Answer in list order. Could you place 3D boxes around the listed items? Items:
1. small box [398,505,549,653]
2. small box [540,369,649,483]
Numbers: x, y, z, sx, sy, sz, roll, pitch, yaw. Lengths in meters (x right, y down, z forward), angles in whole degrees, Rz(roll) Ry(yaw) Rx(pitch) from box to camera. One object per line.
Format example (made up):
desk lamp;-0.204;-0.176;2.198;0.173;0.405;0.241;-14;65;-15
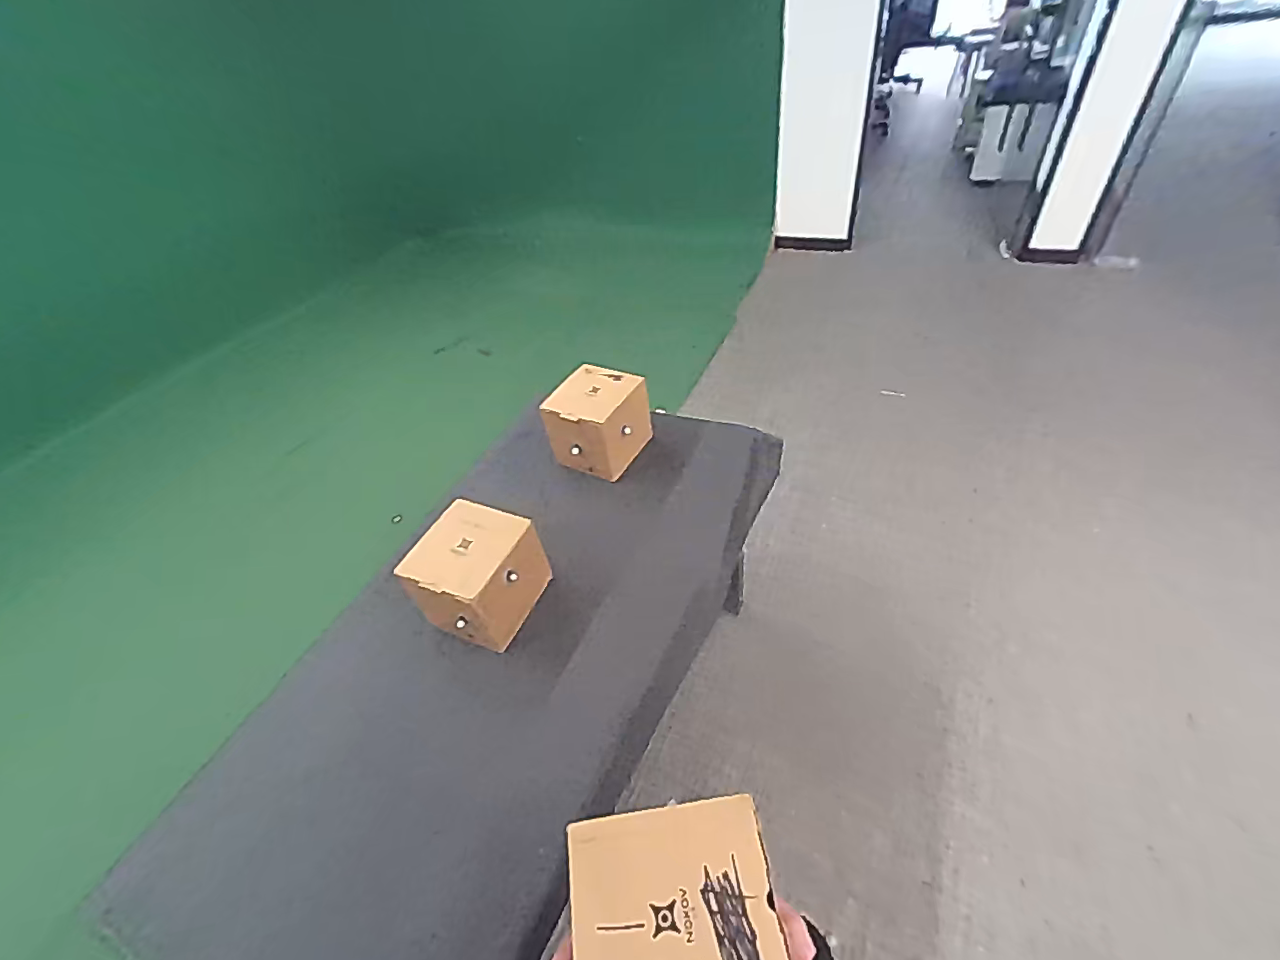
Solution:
small box;-0.281;0.177;0.960;0.168;0.176;0.179;14;48;21
small box;-0.091;-0.120;1.218;0.168;0.176;0.179;19;52;26
